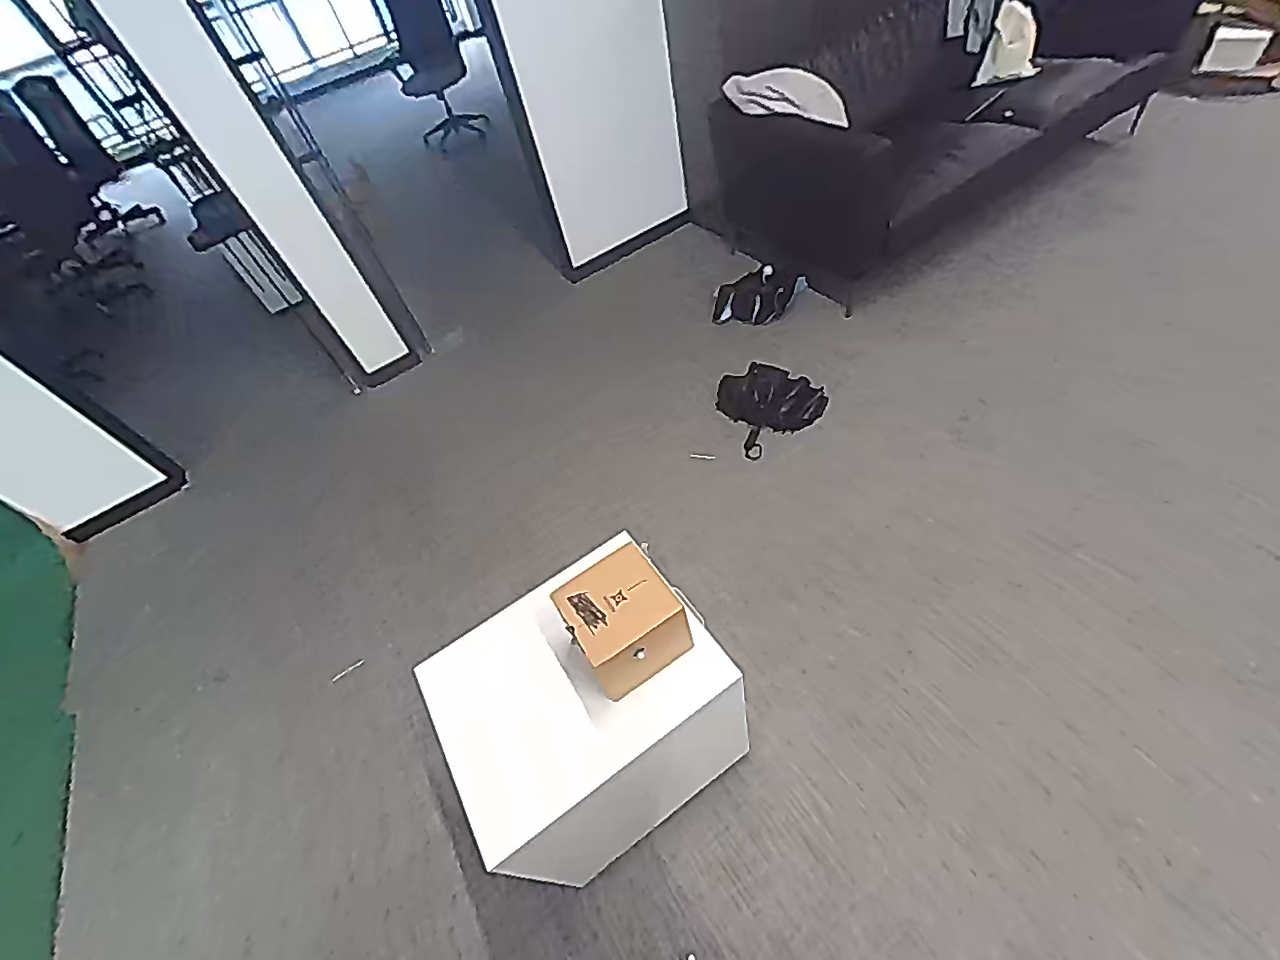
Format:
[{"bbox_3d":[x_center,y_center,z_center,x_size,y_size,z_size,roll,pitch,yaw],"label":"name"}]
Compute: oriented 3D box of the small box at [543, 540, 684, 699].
[{"bbox_3d":[-0.038,0.245,0.938,0.179,0.176,0.168,-31,52,-16],"label":"small box"}]
